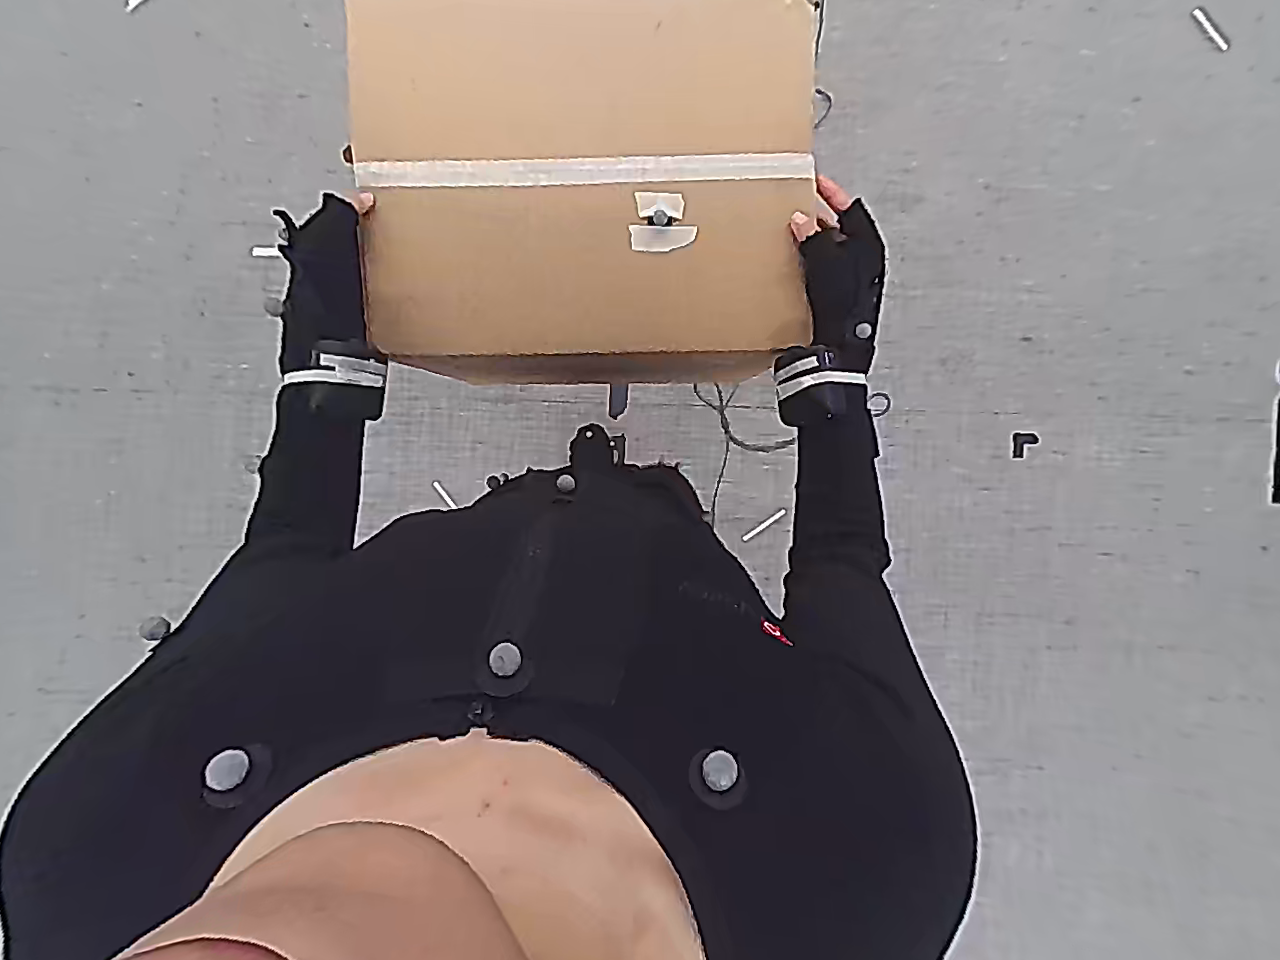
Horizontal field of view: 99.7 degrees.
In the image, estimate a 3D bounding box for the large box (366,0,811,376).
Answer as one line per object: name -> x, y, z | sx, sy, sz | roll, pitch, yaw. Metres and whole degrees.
large box -> -0.046, -0.299, 0.642 | 0.408, 0.320, 0.320 | -1, 96, -1
